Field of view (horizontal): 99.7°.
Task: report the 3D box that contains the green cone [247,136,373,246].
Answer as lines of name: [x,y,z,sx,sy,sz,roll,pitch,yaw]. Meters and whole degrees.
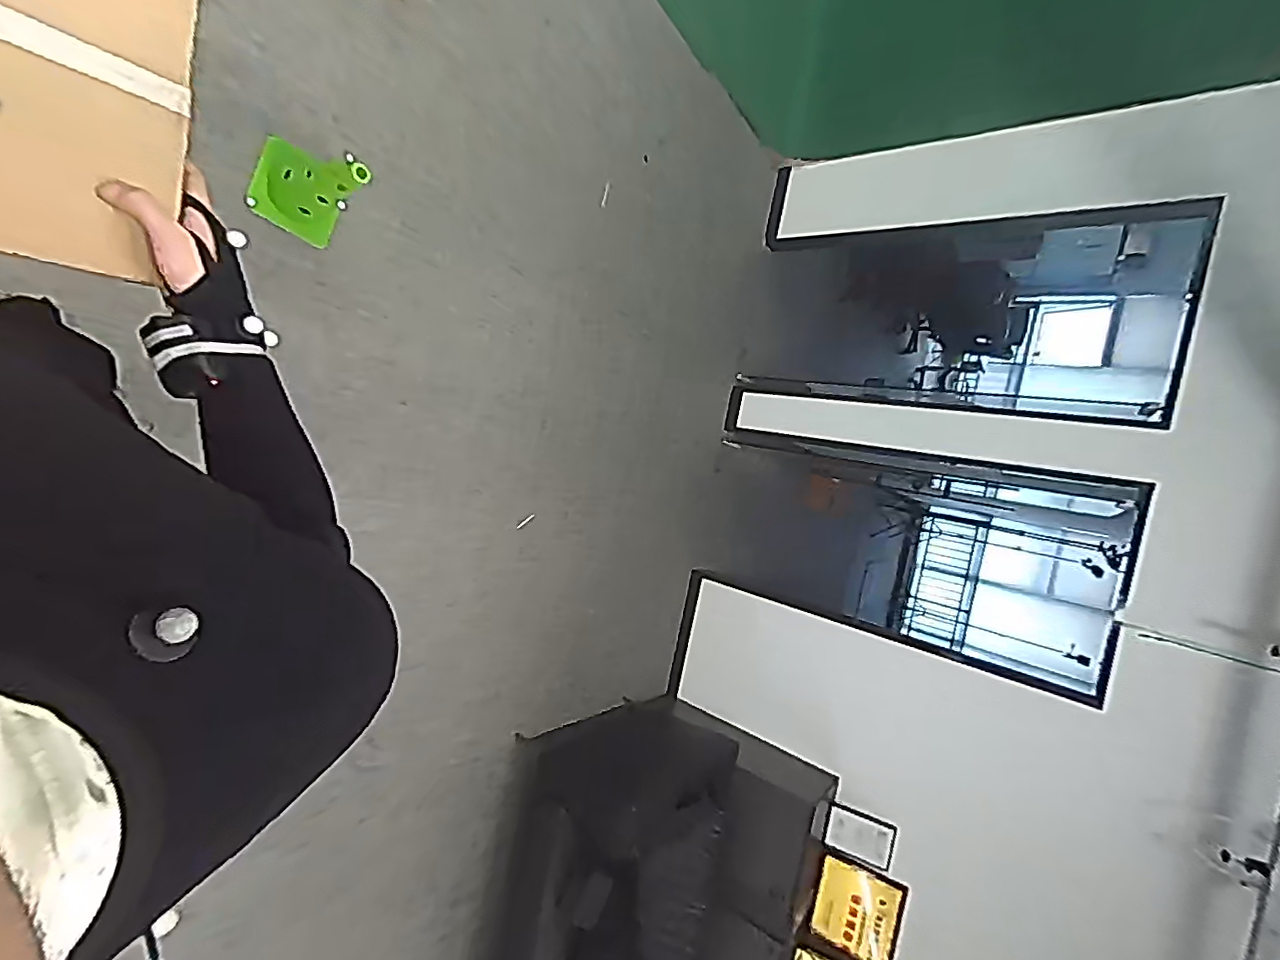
green cone: [-0.757,-0.723,1.314,0.200,0.368,0.202,21,82,-54]

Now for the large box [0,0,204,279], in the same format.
large box: [-0.618,-0.376,0.391,0.408,0.320,0.320,-3,116,-54]
